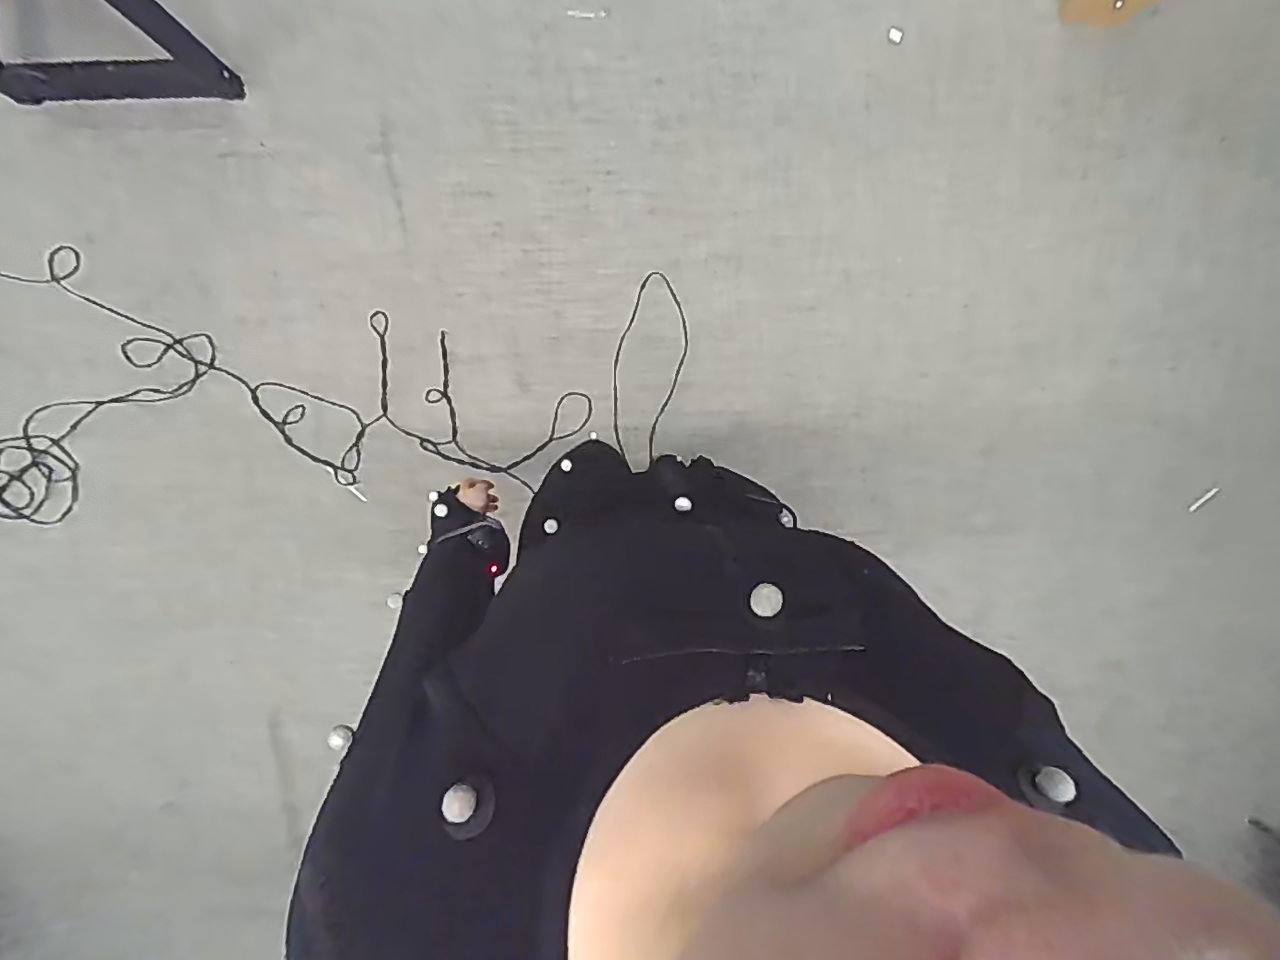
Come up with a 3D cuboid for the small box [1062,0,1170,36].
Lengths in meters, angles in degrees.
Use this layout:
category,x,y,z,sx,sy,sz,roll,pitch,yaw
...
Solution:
category,x,y,z,sx,sy,sz,roll,pitch,yaw
small box,1.200,-1.244,1.327,0.179,0.176,0.168,9,94,-1
